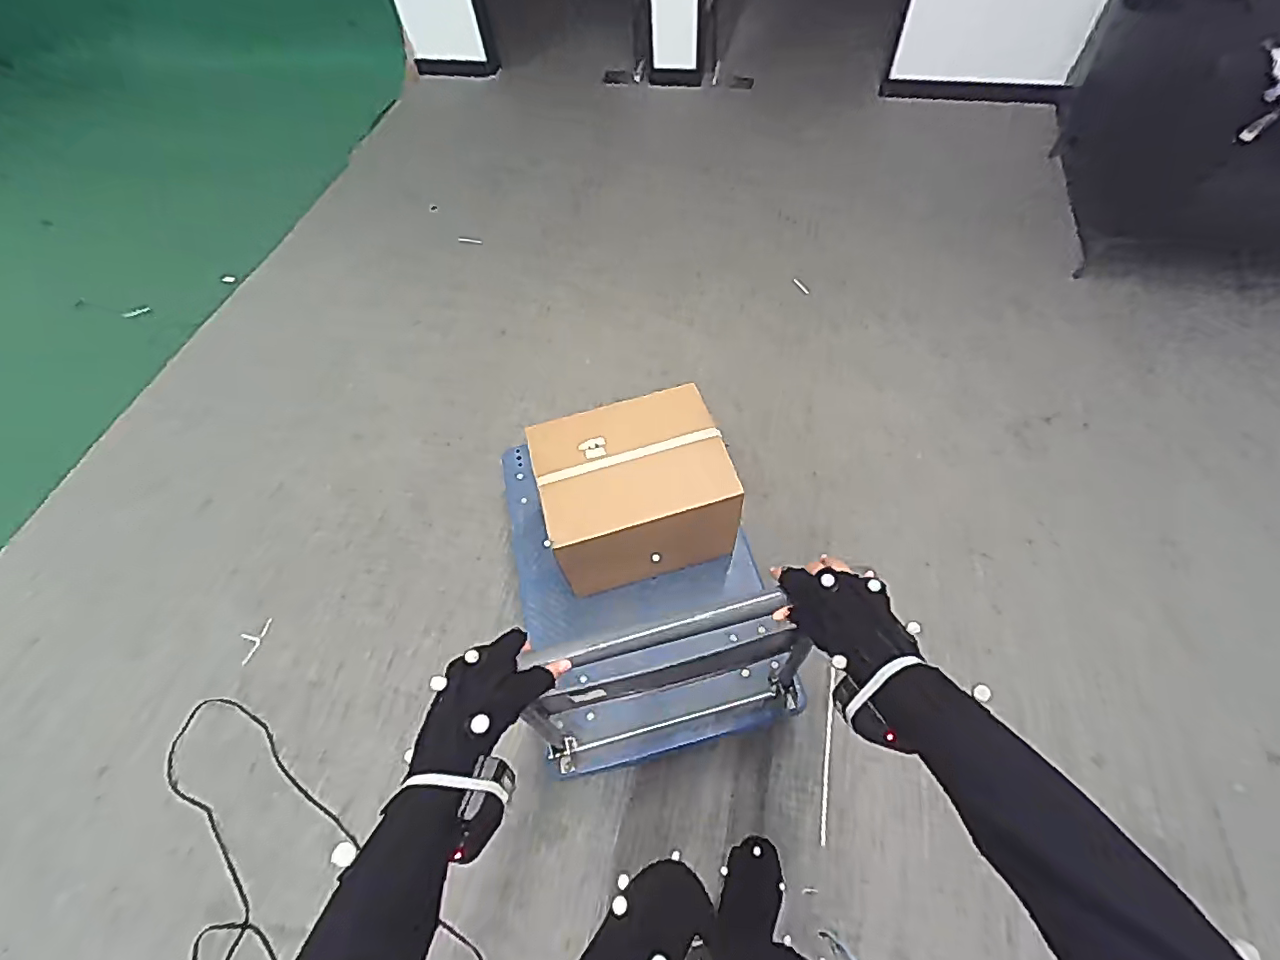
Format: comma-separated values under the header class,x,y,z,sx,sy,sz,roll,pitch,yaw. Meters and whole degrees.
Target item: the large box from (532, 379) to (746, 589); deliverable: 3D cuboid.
class,x,y,z,sx,sy,sz,roll,pitch,yaw
large box,-0.001,0.019,1.287,0.408,0.320,0.320,-17,59,-4
